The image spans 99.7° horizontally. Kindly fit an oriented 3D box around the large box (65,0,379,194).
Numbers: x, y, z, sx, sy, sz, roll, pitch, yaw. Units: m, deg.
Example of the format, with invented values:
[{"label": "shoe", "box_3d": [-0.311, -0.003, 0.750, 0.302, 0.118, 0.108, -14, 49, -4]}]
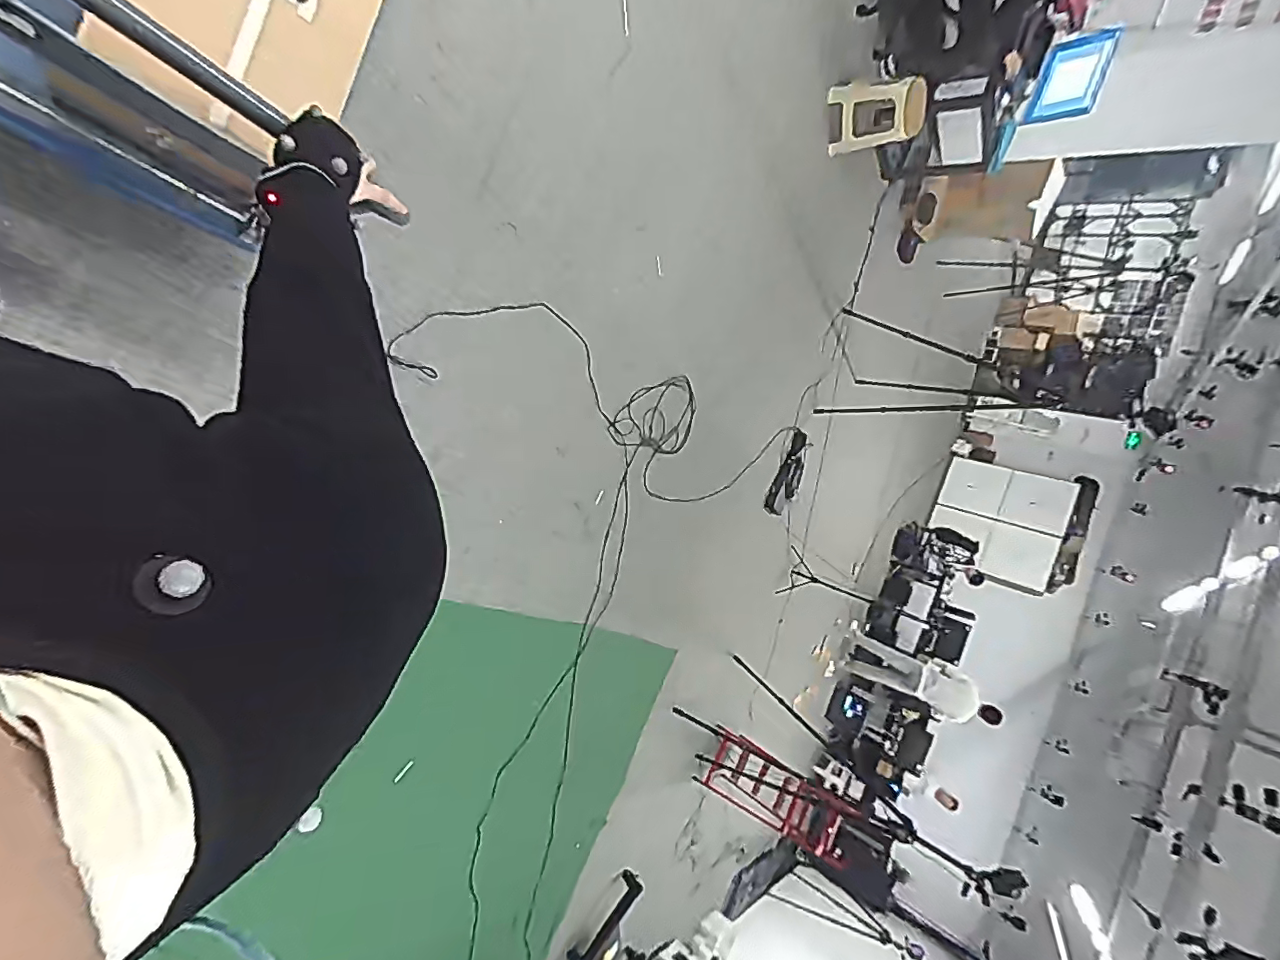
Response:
[{"label": "large box", "box_3d": [-0.721, -0.787, 0.946, 0.320, 0.320, 0.408, 20, 88, -54]}]
